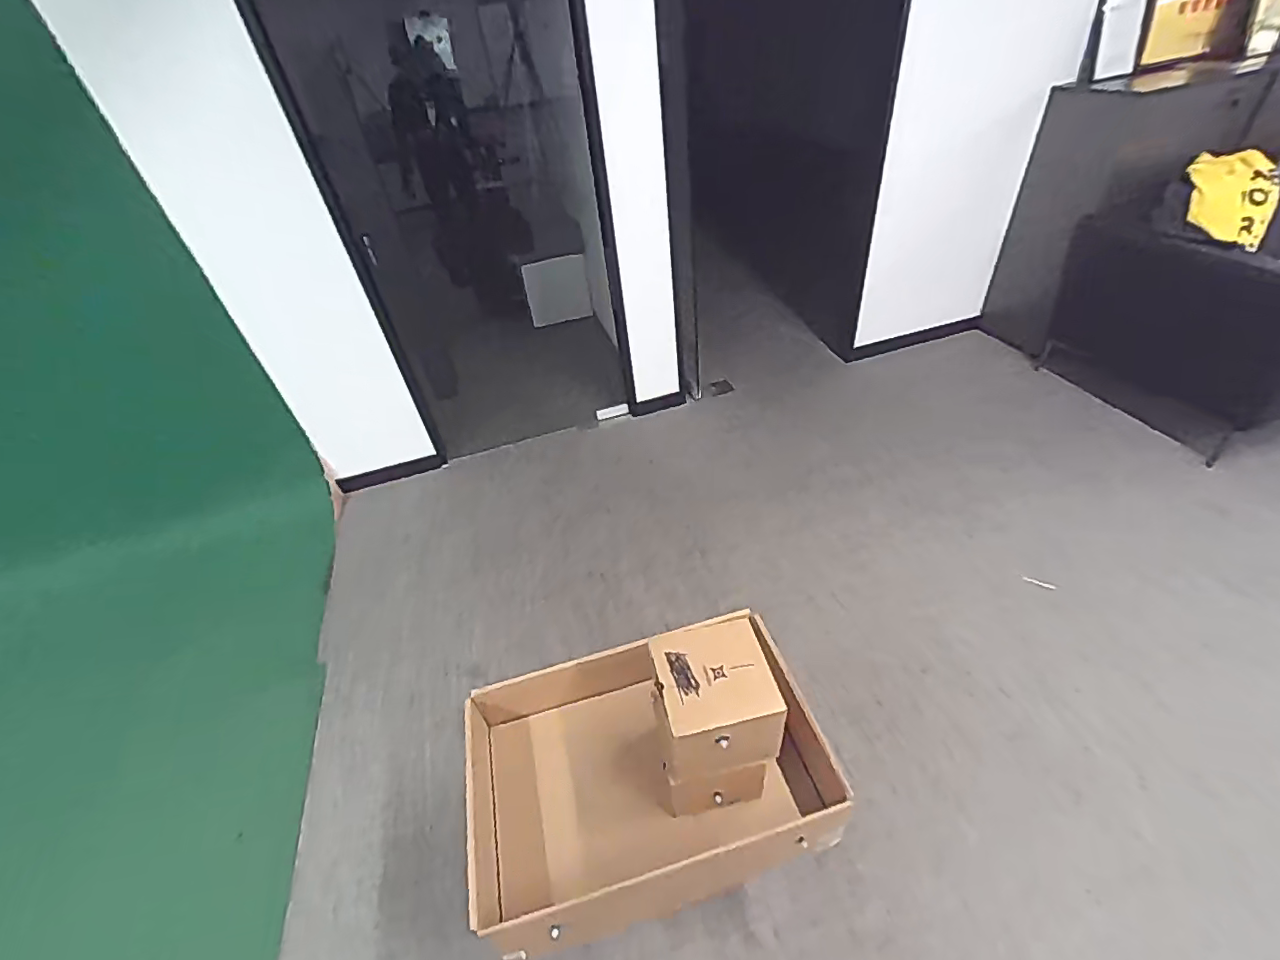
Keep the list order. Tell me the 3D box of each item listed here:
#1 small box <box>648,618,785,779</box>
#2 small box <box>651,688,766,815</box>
[{"bbox_3d":[0.119,0.357,0.880,0.179,0.176,0.168,-11,41,-5],"label":"small box"},{"bbox_3d":[0.122,0.484,0.986,0.168,0.176,0.179,-11,40,-4],"label":"small box"}]
